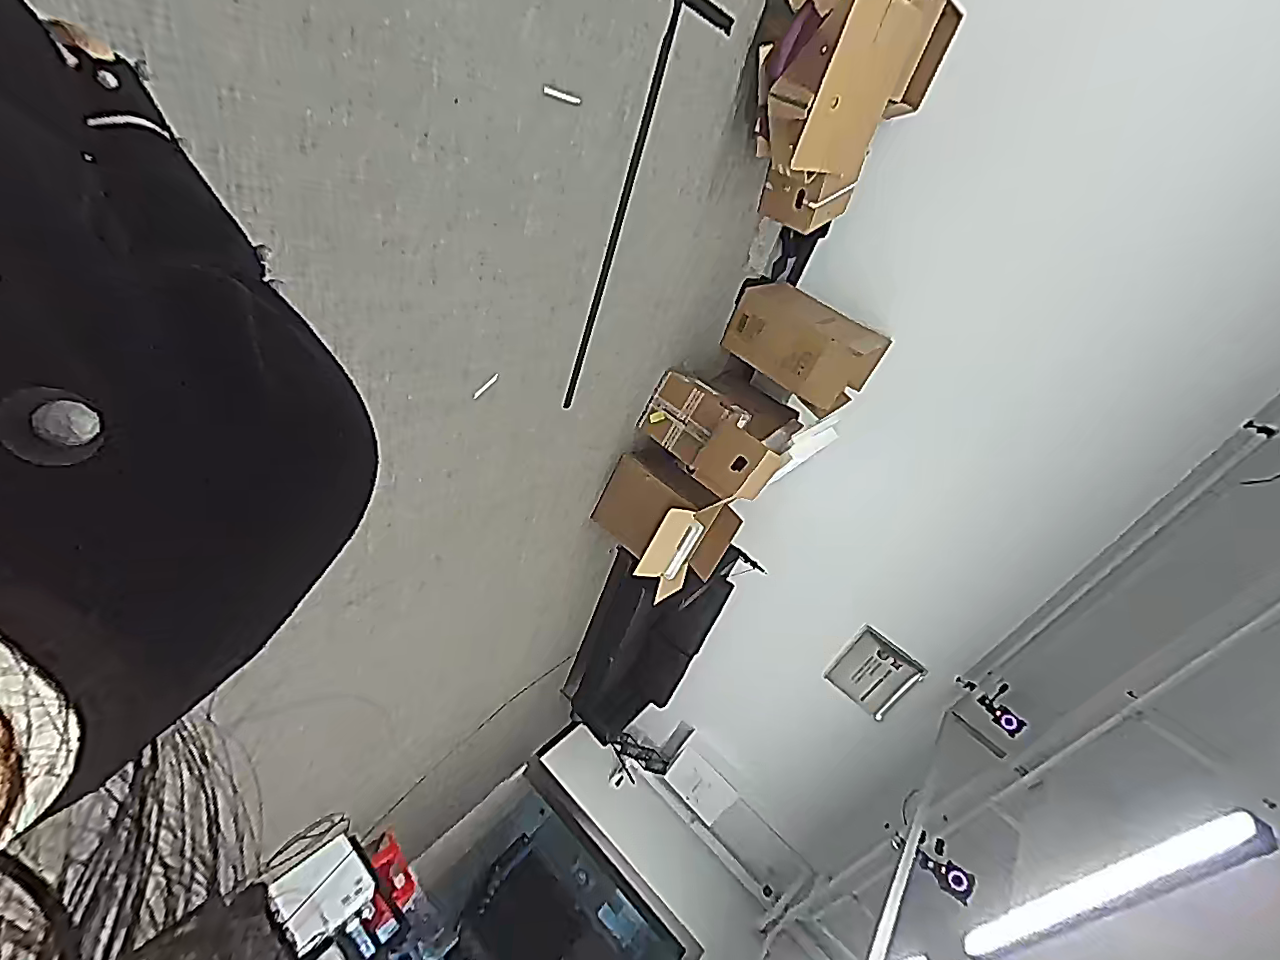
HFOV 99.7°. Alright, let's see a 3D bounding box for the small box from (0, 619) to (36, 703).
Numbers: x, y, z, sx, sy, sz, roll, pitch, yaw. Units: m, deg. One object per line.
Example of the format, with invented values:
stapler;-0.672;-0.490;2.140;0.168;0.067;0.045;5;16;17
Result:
small box;-1.399;0.370;1.094;0.179;0.176;0.168;-28;147;-47
